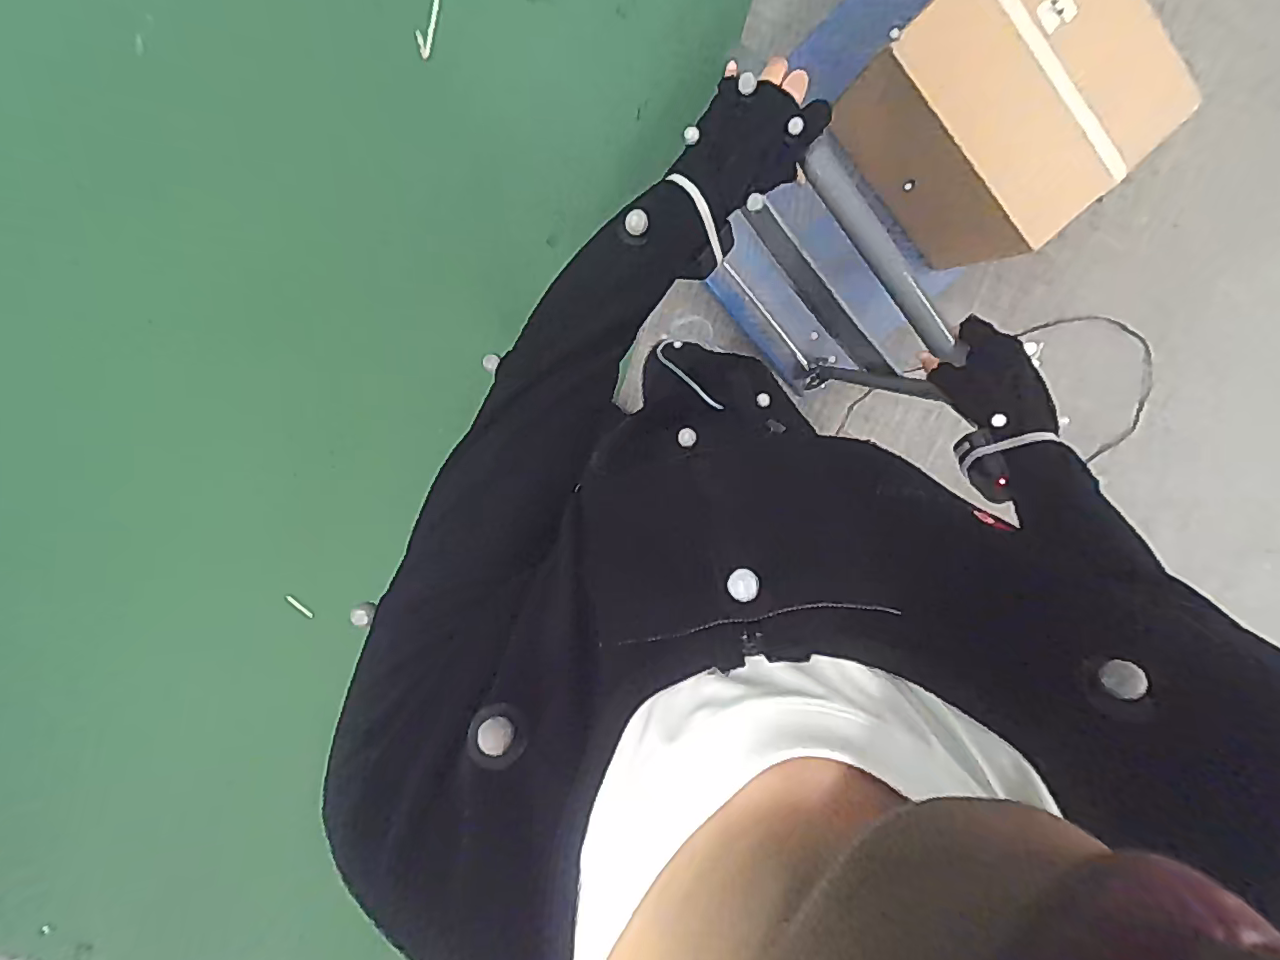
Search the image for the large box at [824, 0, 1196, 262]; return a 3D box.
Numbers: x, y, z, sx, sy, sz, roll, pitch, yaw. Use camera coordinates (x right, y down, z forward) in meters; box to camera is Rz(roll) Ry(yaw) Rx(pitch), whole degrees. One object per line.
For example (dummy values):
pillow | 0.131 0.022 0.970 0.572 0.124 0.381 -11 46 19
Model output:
large box | 0.615 -0.666 0.970 0.320 0.320 0.408 -44 101 10
